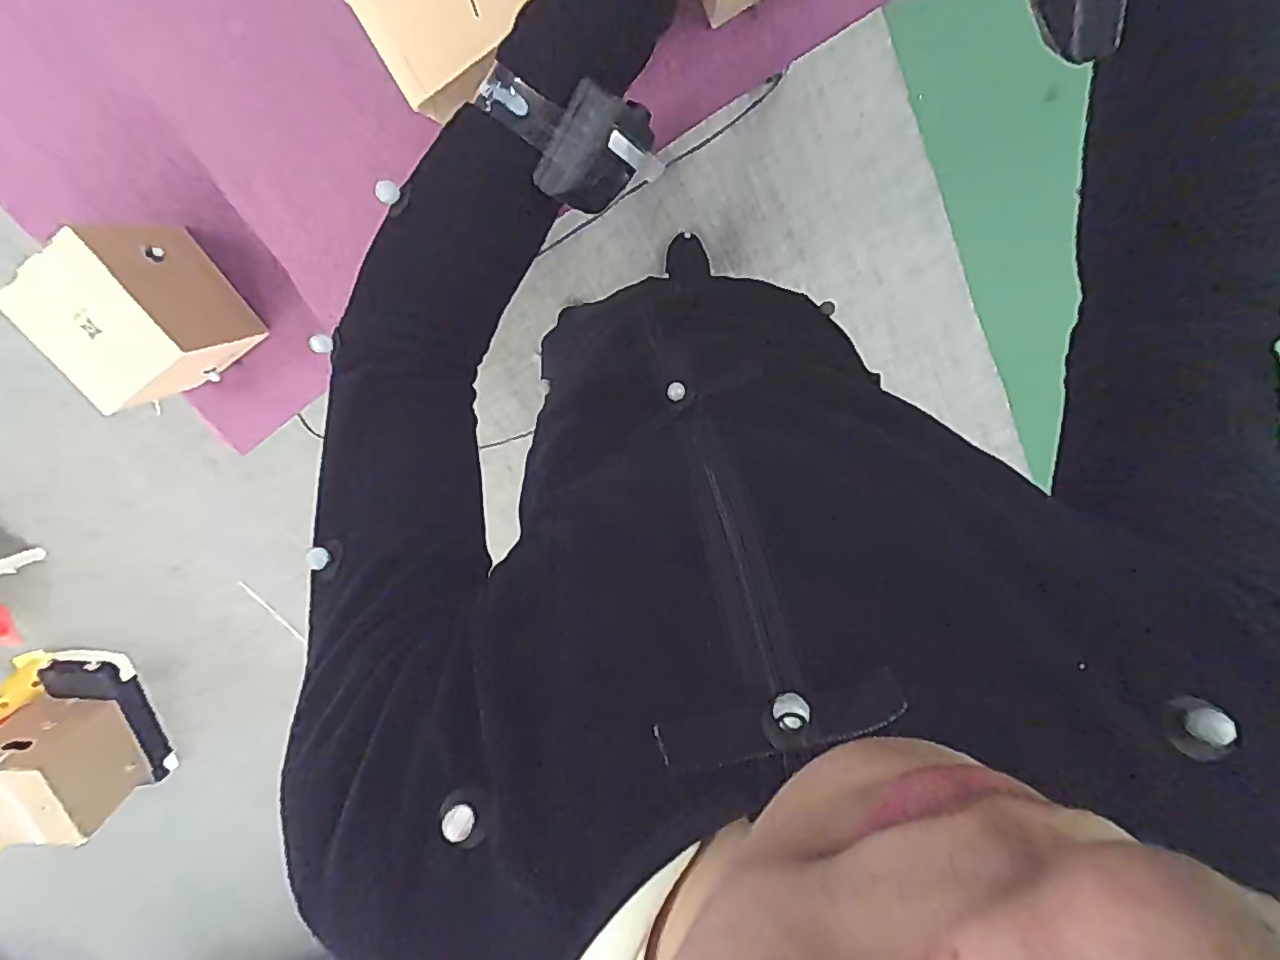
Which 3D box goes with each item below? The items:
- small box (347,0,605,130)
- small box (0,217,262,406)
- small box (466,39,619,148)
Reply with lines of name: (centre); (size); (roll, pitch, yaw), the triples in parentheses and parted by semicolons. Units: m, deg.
small box: (-0.145, -0.428, 0.443); (0.168, 0.176, 0.179); (-25, 111, 14)
small box: (-0.685, -0.232, 0.742); (0.168, 0.176, 0.179); (-27, 110, 15)
small box: (-0.136, -0.495, 0.593); (0.168, 0.176, 0.179); (-25, 110, 14)
